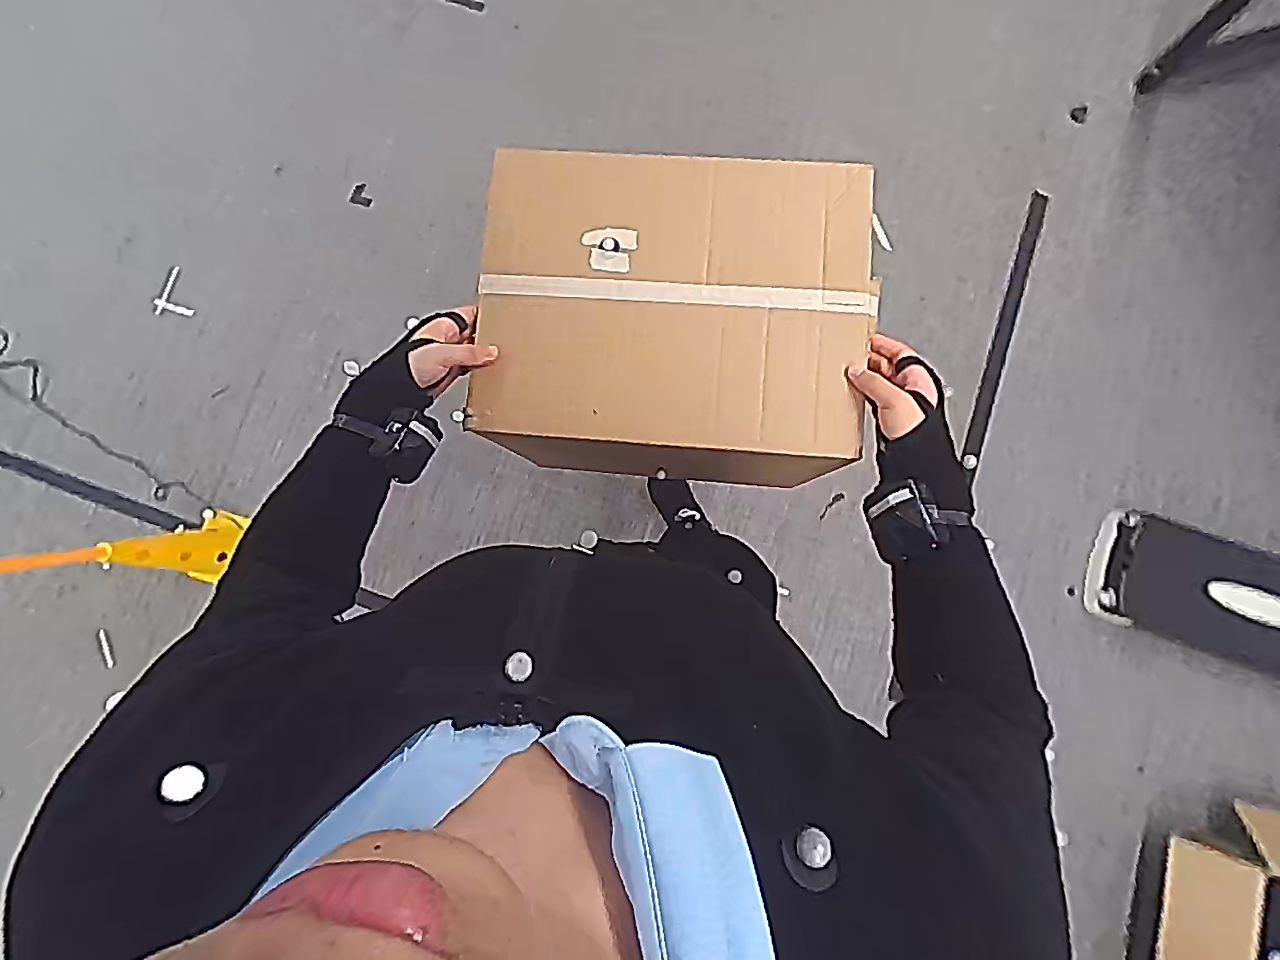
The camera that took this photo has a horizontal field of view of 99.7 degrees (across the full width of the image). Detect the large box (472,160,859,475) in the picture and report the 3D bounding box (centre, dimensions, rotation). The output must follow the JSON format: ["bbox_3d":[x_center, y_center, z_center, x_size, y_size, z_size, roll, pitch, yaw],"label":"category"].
[{"bbox_3d":[0.040,-0.180,0.718,0.408,0.320,0.320,3,83,5],"label":"large box"}]
